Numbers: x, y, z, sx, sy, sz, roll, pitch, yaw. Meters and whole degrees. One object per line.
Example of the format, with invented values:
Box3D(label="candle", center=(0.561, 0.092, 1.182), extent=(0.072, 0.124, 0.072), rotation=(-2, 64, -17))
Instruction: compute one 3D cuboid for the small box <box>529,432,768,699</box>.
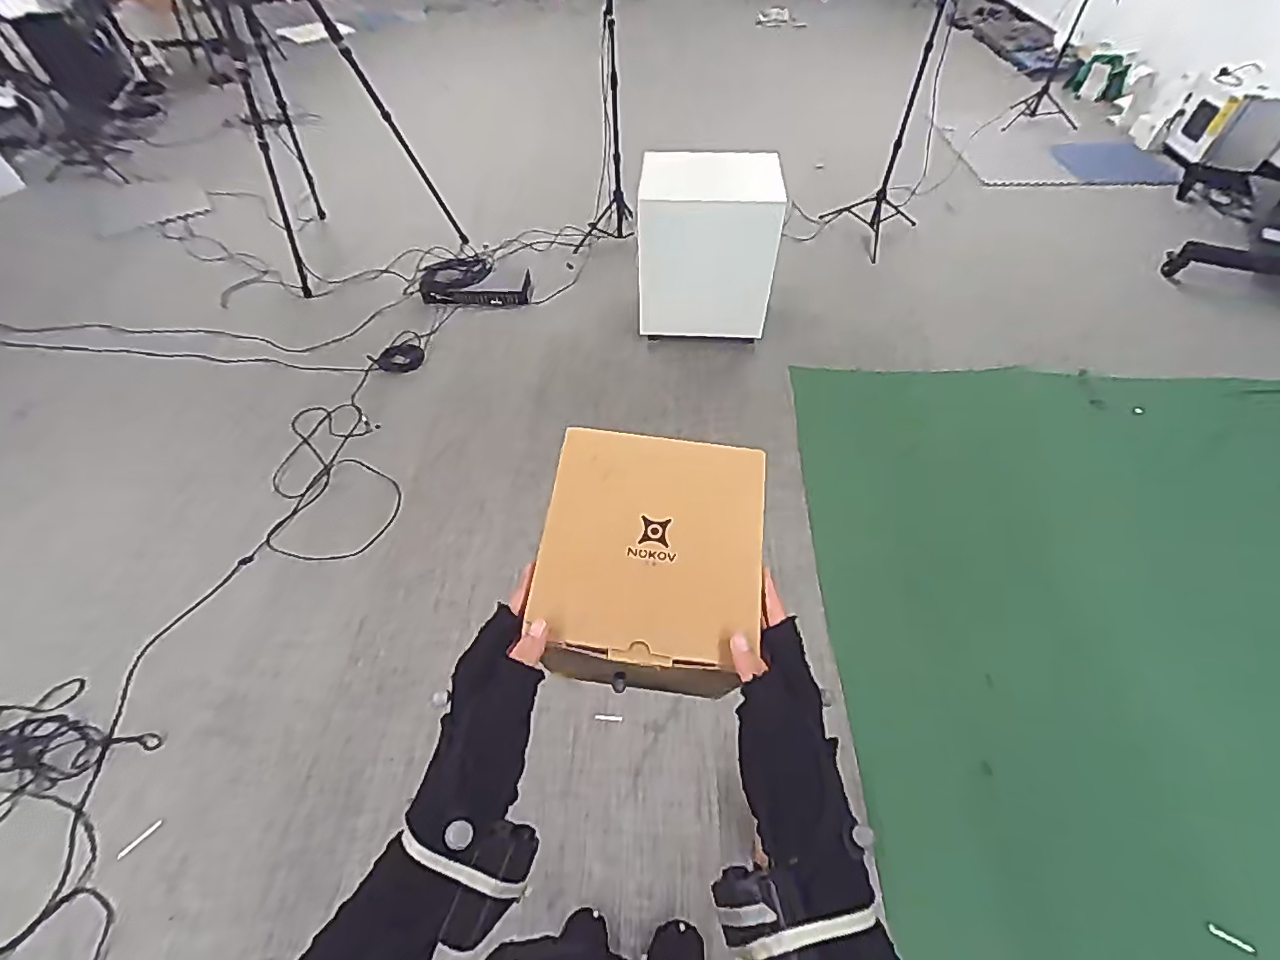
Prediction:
Box3D(label="small box", center=(0.010, 0.083, 0.476), extent=(0.168, 0.176, 0.179), rotation=(7, 63, 2))

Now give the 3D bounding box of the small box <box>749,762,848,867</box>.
Box3D(label="small box", center=(0.337, 0.735, 1.183), extent=(0.168, 0.176, 0.179), rotation=(2, 51, 2))
